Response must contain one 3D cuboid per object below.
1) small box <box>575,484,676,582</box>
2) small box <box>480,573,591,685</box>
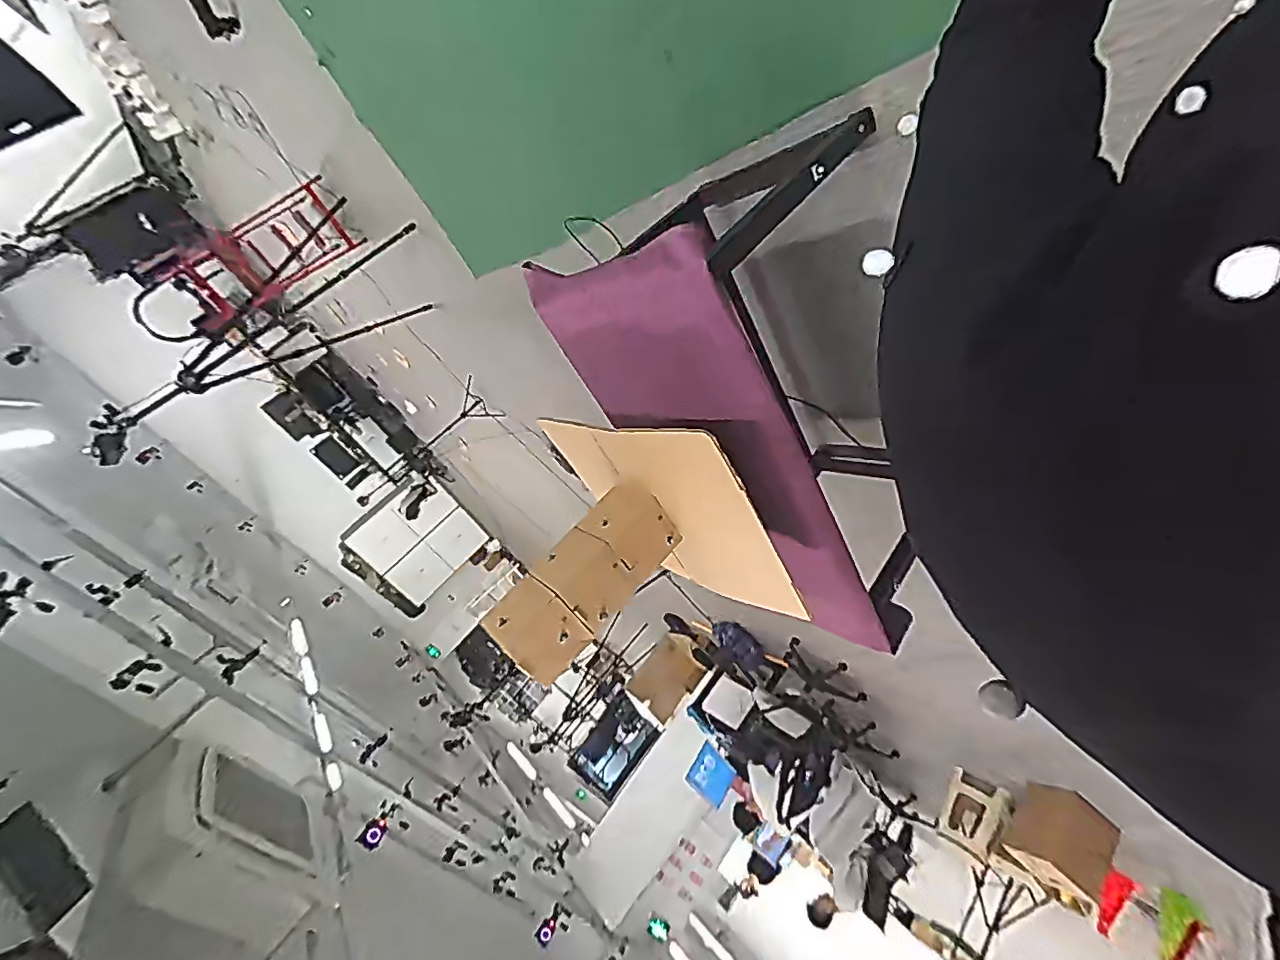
[{"bbox_3d":[-0.029,0.131,1.411,0.179,0.176,0.168,17,146,53],"label":"small box"},{"bbox_3d":[-0.249,0.350,1.305,0.179,0.176,0.168,15,144,54],"label":"small box"}]
